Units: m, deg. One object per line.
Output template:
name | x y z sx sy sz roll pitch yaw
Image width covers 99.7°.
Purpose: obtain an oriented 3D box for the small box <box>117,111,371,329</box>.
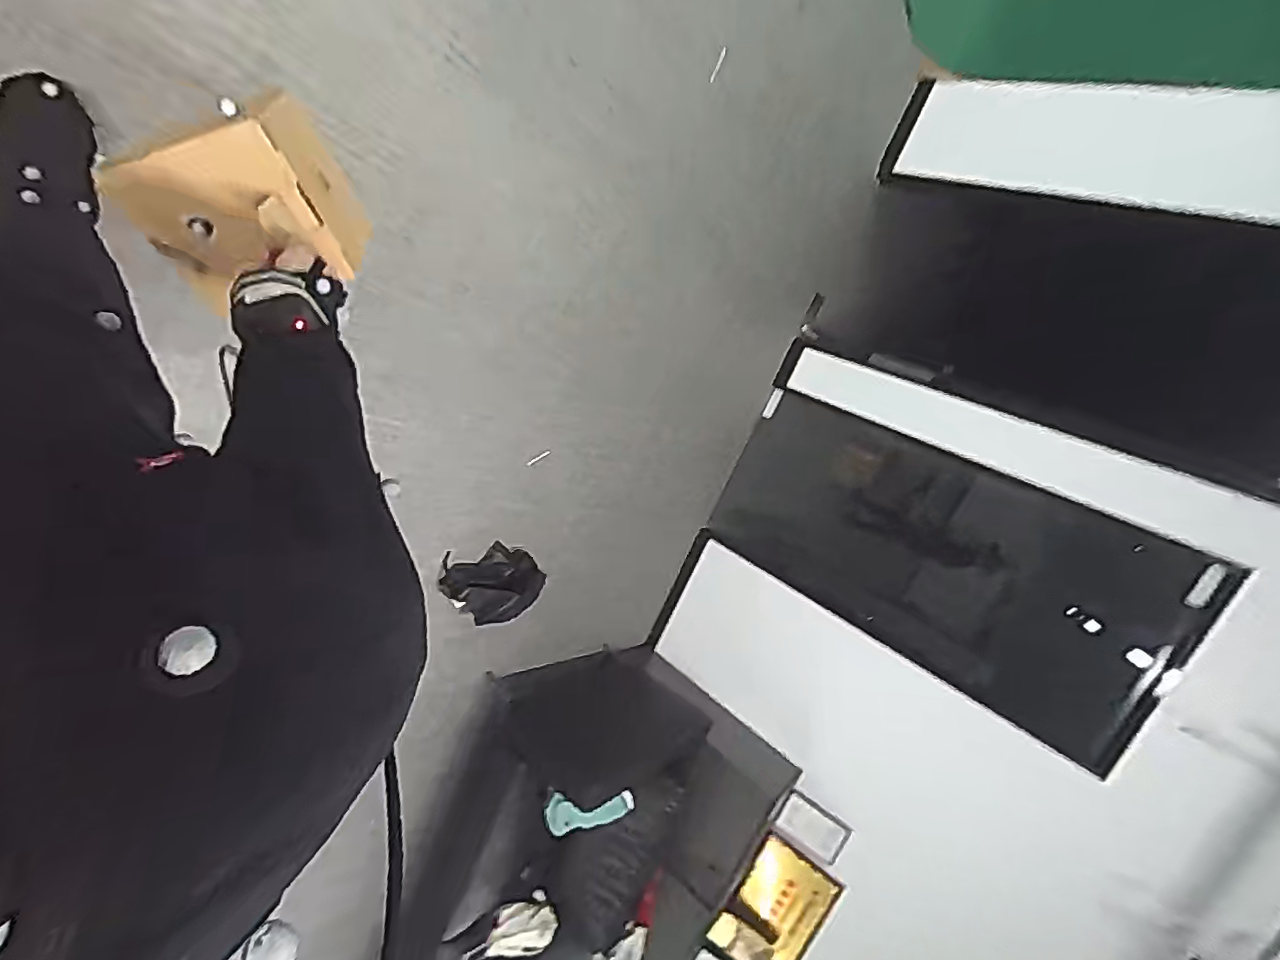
small box | -0.448 -0.309 0.641 0.176 0.179 0.168 -20 135 -3
